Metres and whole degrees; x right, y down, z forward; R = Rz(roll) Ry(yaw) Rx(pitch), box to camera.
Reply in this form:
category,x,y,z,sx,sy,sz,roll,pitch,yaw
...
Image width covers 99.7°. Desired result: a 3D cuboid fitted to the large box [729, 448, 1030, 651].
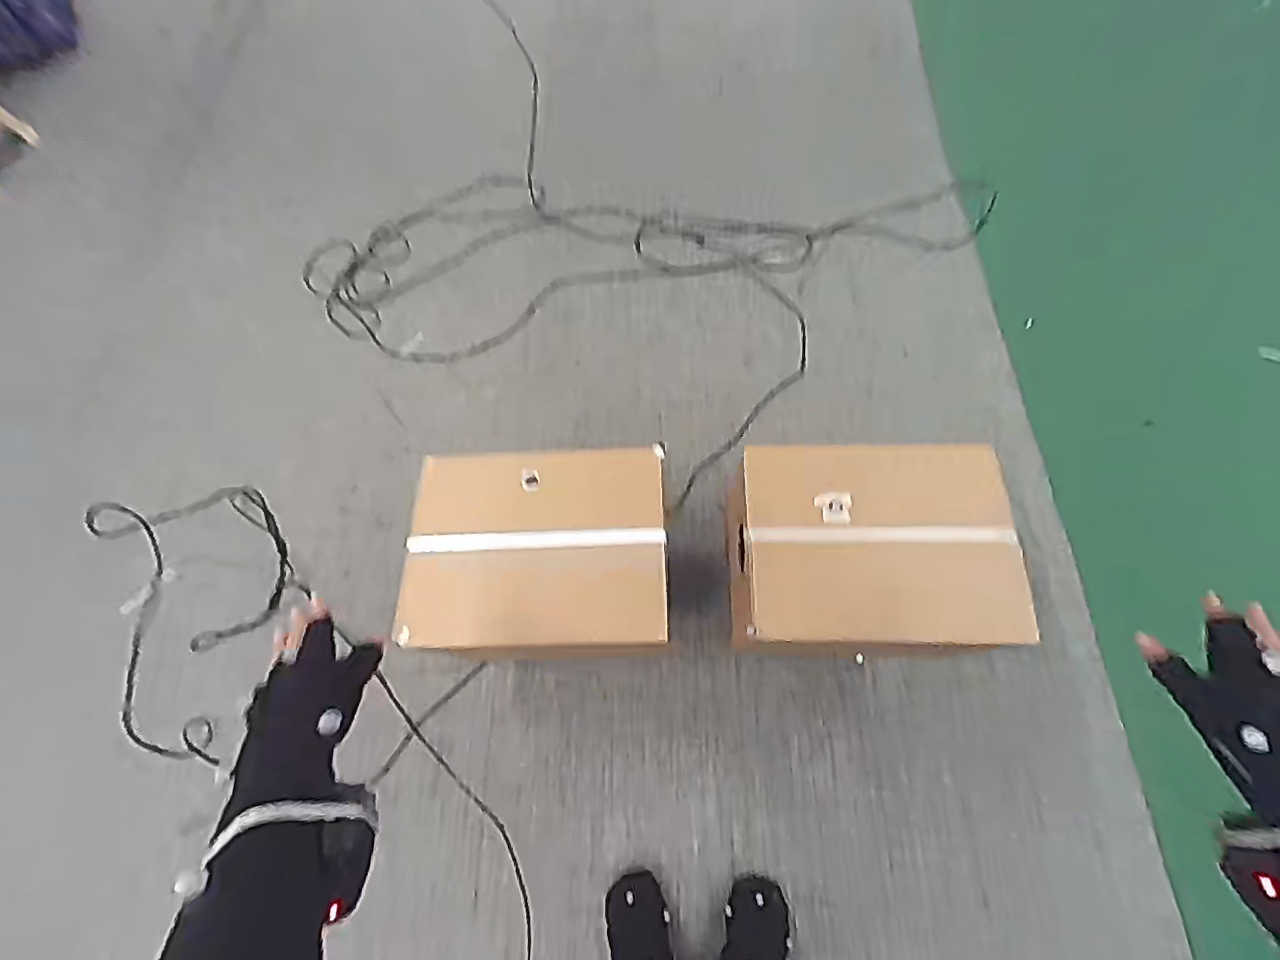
category,x,y,z,sx,sy,sz,roll,pitch,yaw
large box,0.381,0.145,0.984,0.408,0.320,0.320,0,68,4
